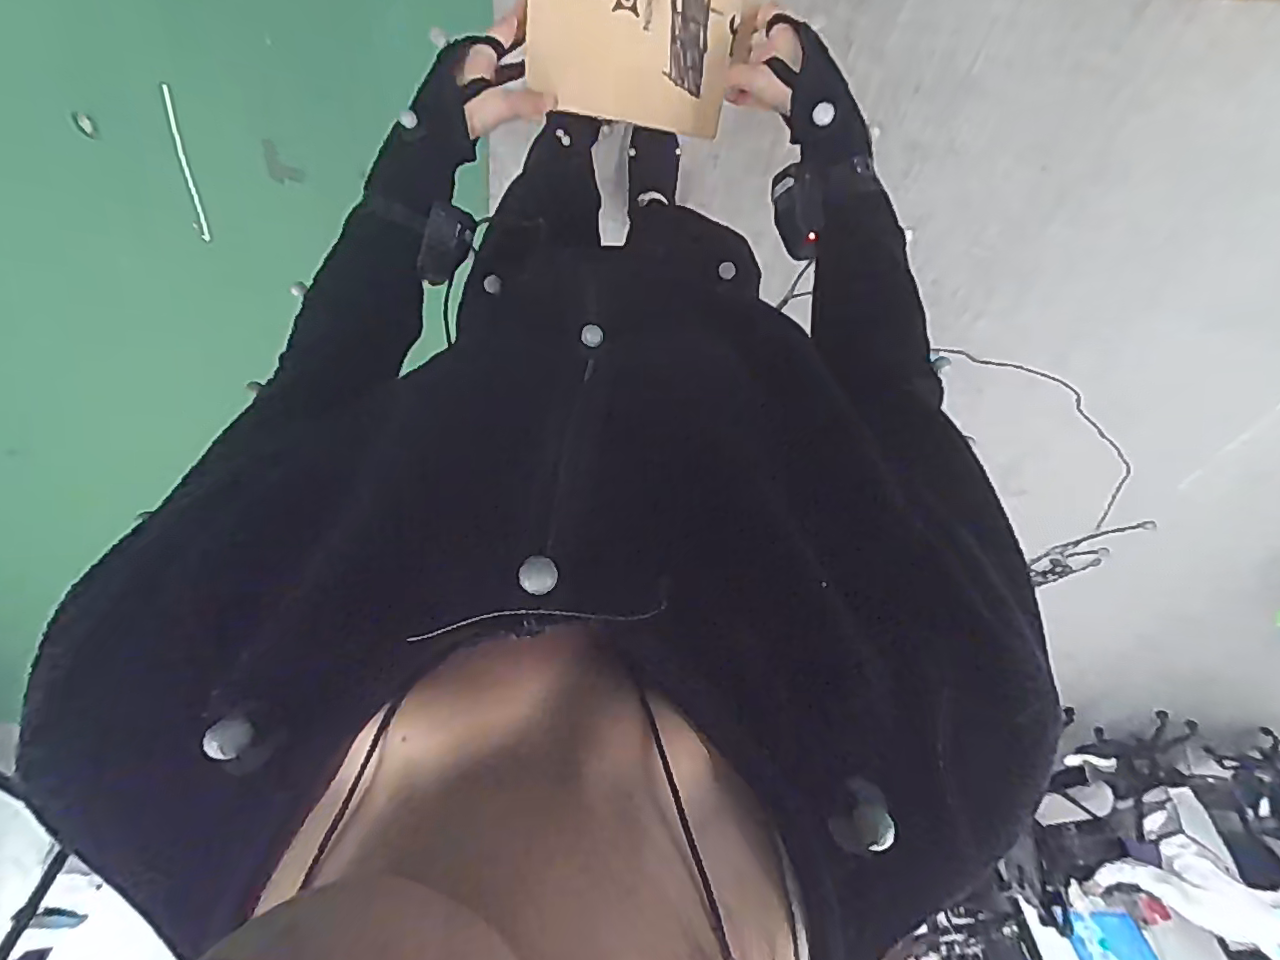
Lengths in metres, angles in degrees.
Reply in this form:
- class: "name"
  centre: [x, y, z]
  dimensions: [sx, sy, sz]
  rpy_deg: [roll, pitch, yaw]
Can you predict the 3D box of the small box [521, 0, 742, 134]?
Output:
- class: "small box"
  centre: [-0.012, -0.433, 0.497]
  dimensions: [0.179, 0.176, 0.168]
  rpy_deg: [5, 122, -10]
